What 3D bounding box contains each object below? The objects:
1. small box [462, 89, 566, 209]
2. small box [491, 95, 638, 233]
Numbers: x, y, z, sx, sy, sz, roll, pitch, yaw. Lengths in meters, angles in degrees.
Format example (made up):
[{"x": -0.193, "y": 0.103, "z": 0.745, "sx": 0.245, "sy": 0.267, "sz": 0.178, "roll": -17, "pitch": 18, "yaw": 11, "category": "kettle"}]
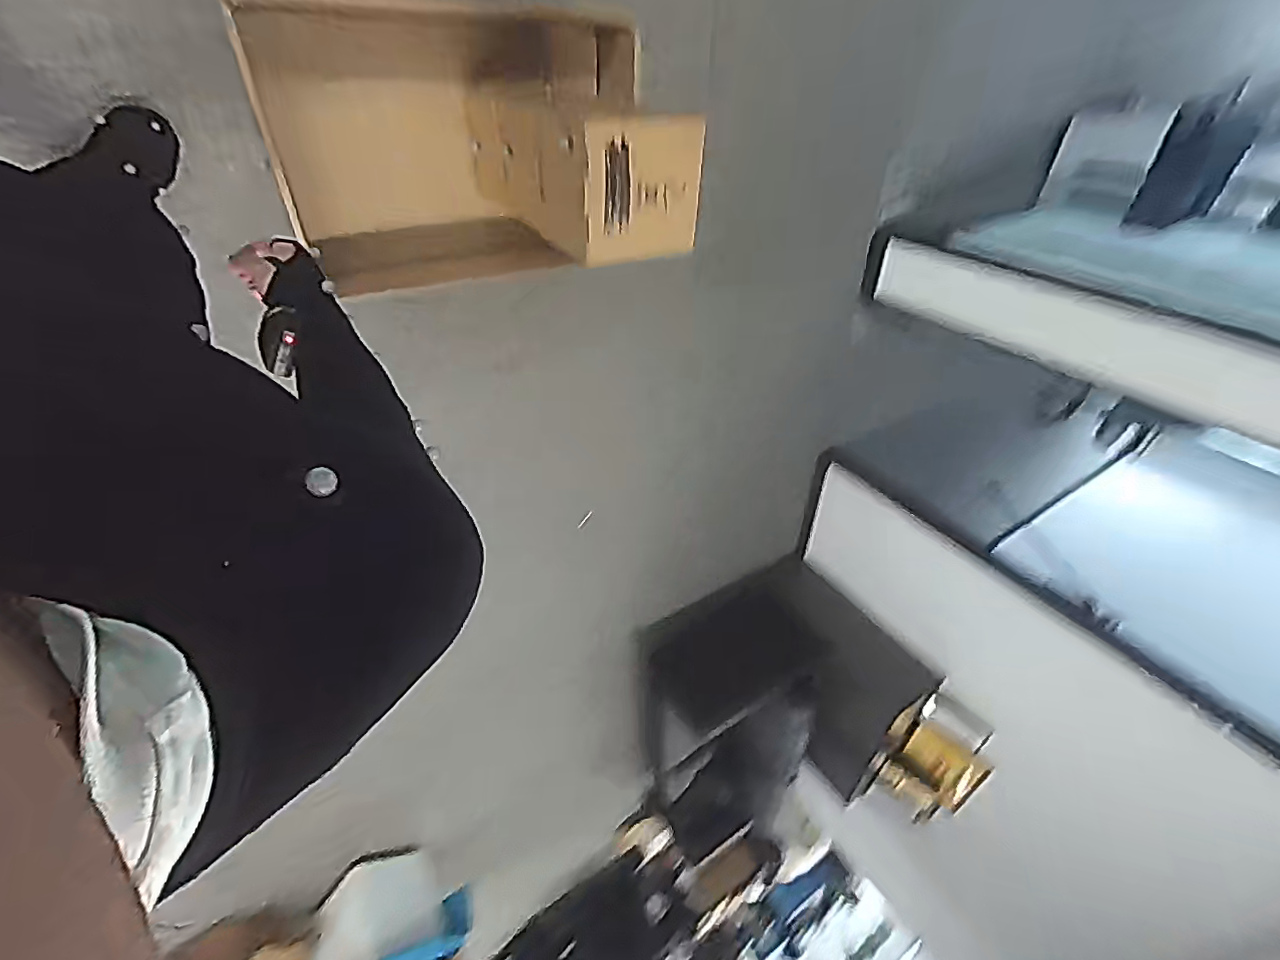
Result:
[{"x": -0.204, "y": -0.605, "z": 0.983, "sx": 0.179, "sy": 0.176, "sz": 0.168, "roll": -18, "pitch": 132, "yaw": -25, "category": "small box"}, {"x": -0.122, "y": -0.516, "z": 0.875, "sx": 0.179, "sy": 0.176, "sz": 0.168, "roll": -19, "pitch": 134, "yaw": -25, "category": "small box"}]
